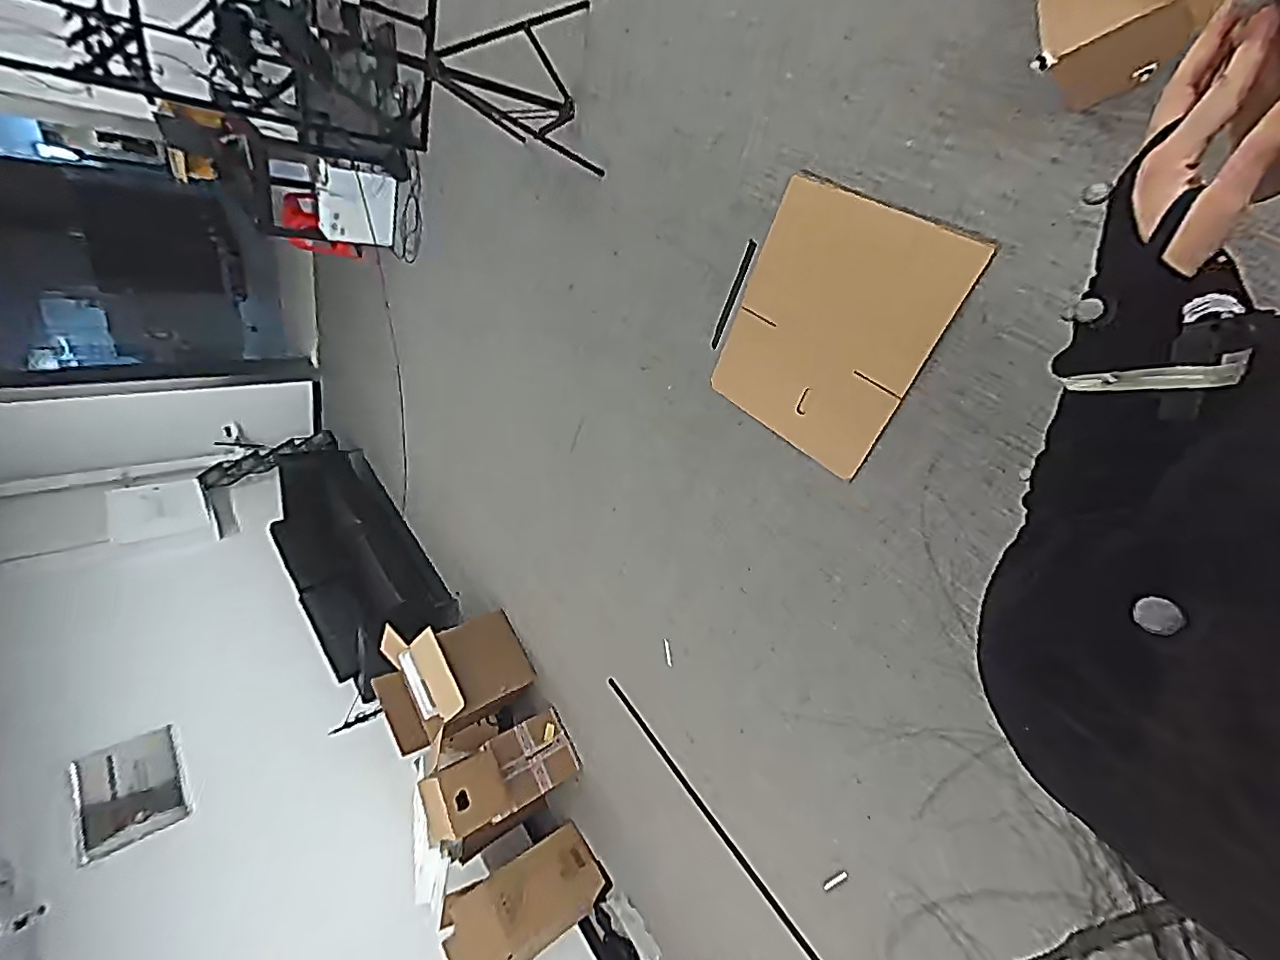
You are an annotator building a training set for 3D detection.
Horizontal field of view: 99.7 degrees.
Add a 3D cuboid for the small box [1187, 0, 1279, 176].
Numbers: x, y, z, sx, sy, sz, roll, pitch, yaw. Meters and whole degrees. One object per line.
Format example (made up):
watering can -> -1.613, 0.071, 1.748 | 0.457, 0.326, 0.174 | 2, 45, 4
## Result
small box -> 0.400, -0.272, 0.253 | 0.168, 0.176, 0.179 | -16, 93, 37
